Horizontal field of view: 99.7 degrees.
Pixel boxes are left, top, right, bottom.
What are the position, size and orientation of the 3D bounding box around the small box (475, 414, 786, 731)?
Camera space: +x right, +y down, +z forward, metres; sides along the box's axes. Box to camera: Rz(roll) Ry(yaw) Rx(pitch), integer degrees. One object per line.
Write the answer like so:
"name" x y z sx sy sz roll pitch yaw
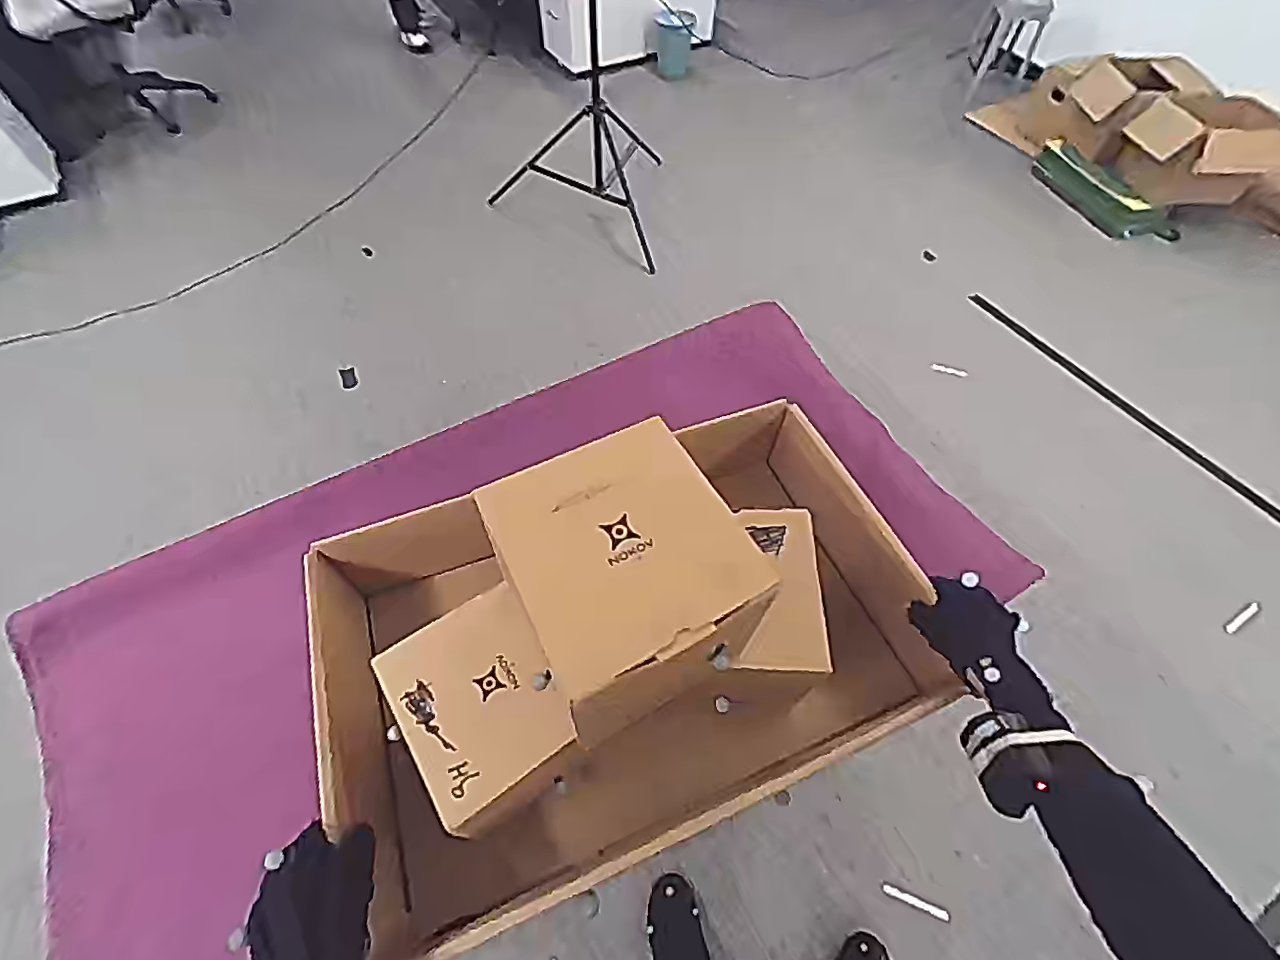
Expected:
"small box" -0.013 0.083 0.446 0.168 0.176 0.179 -23 59 -19
